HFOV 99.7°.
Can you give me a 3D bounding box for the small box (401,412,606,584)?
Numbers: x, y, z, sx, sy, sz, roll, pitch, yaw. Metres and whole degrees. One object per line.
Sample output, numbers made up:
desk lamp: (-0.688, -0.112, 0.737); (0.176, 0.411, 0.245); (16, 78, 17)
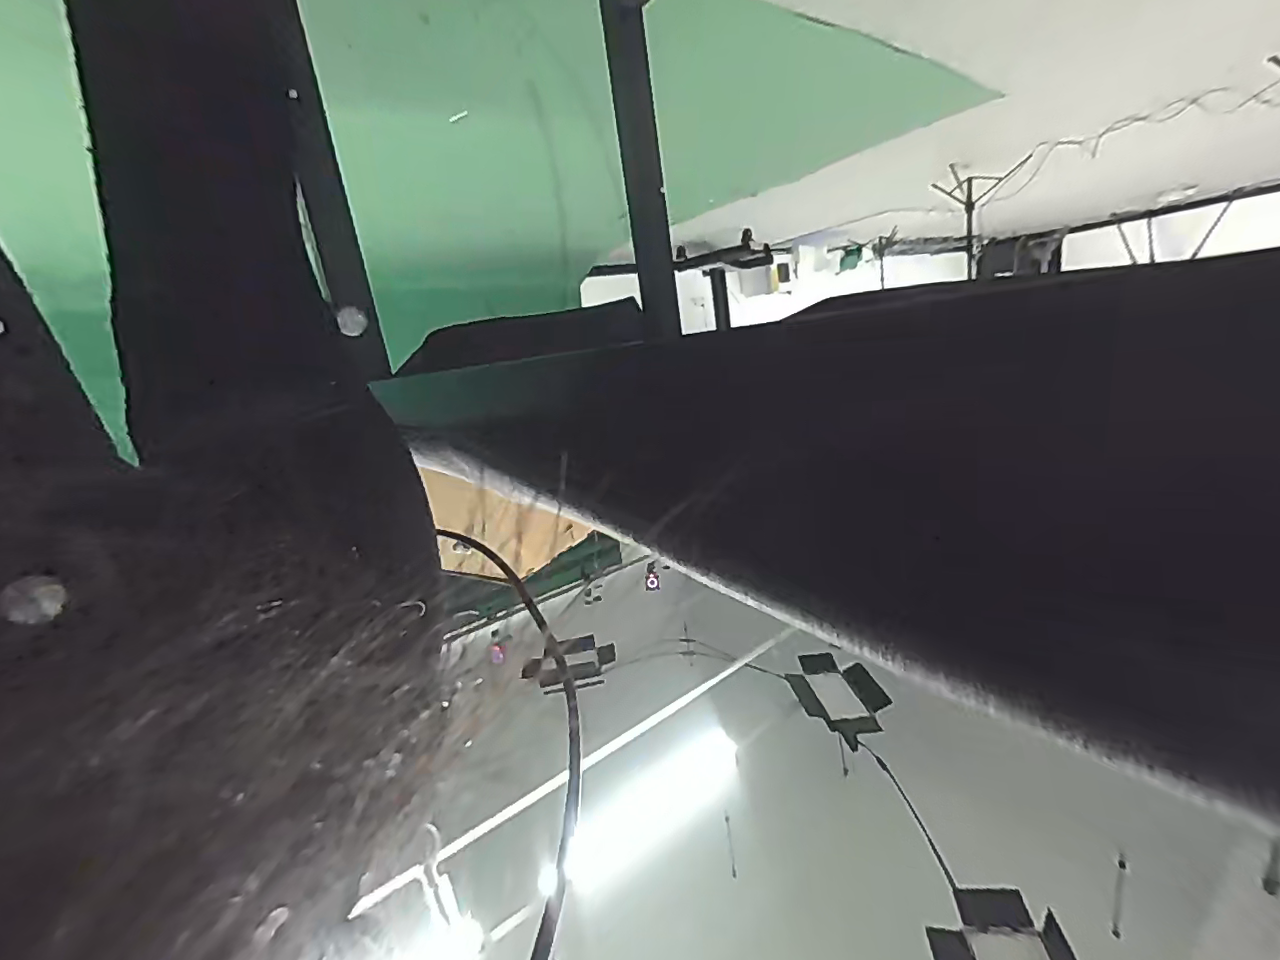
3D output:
small box: (-0.173, 0.014, 0.692); (0.179, 0.176, 0.168); (-1, -161, 35)
